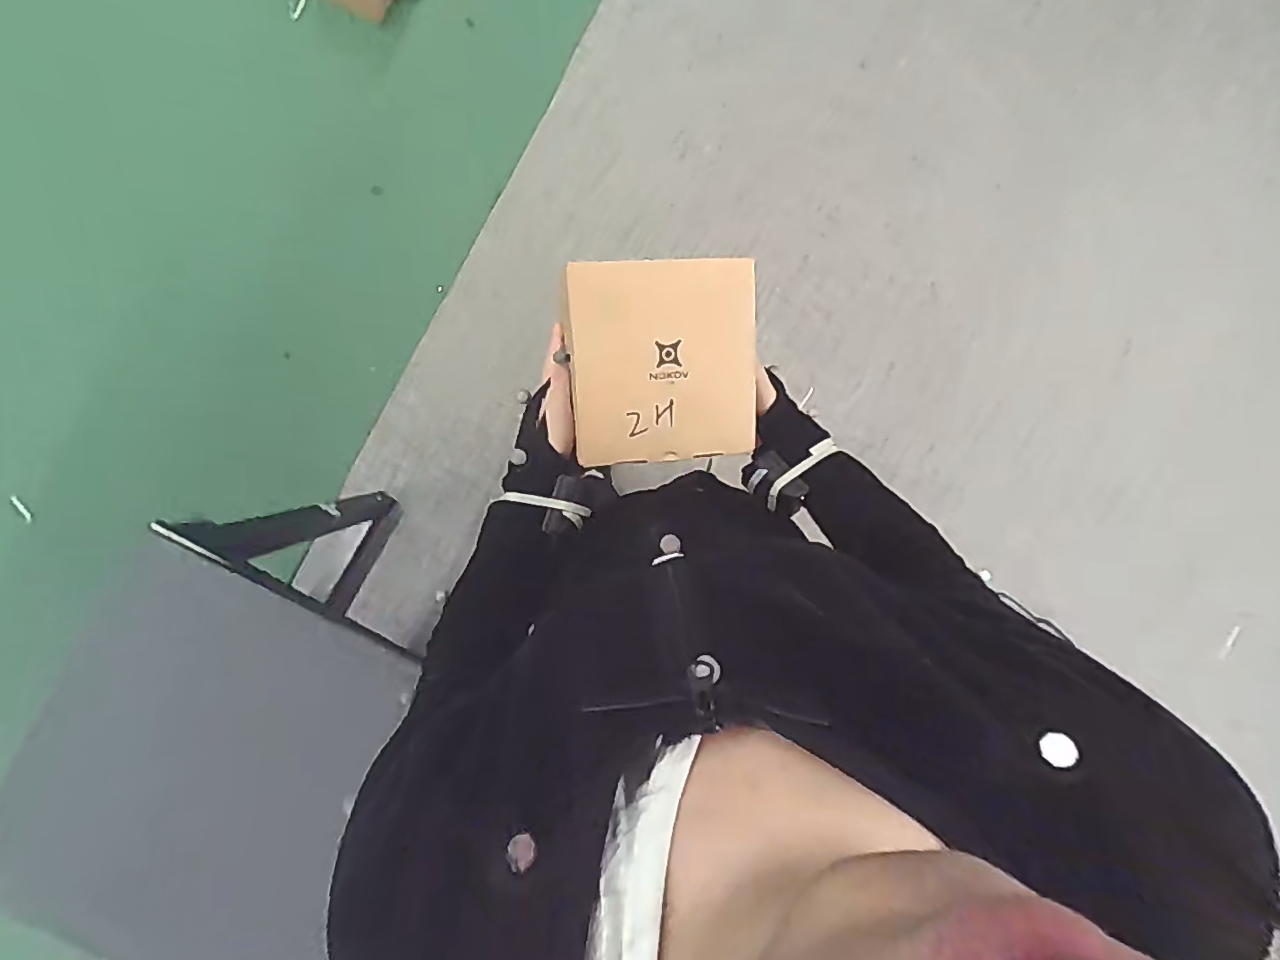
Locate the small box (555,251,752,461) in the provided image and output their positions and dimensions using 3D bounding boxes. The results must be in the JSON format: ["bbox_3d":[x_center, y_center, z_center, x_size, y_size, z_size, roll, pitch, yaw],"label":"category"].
[{"bbox_3d":[0.005,-0.123,0.548,0.168,0.176,0.179,-5,103,-10],"label":"small box"}]
